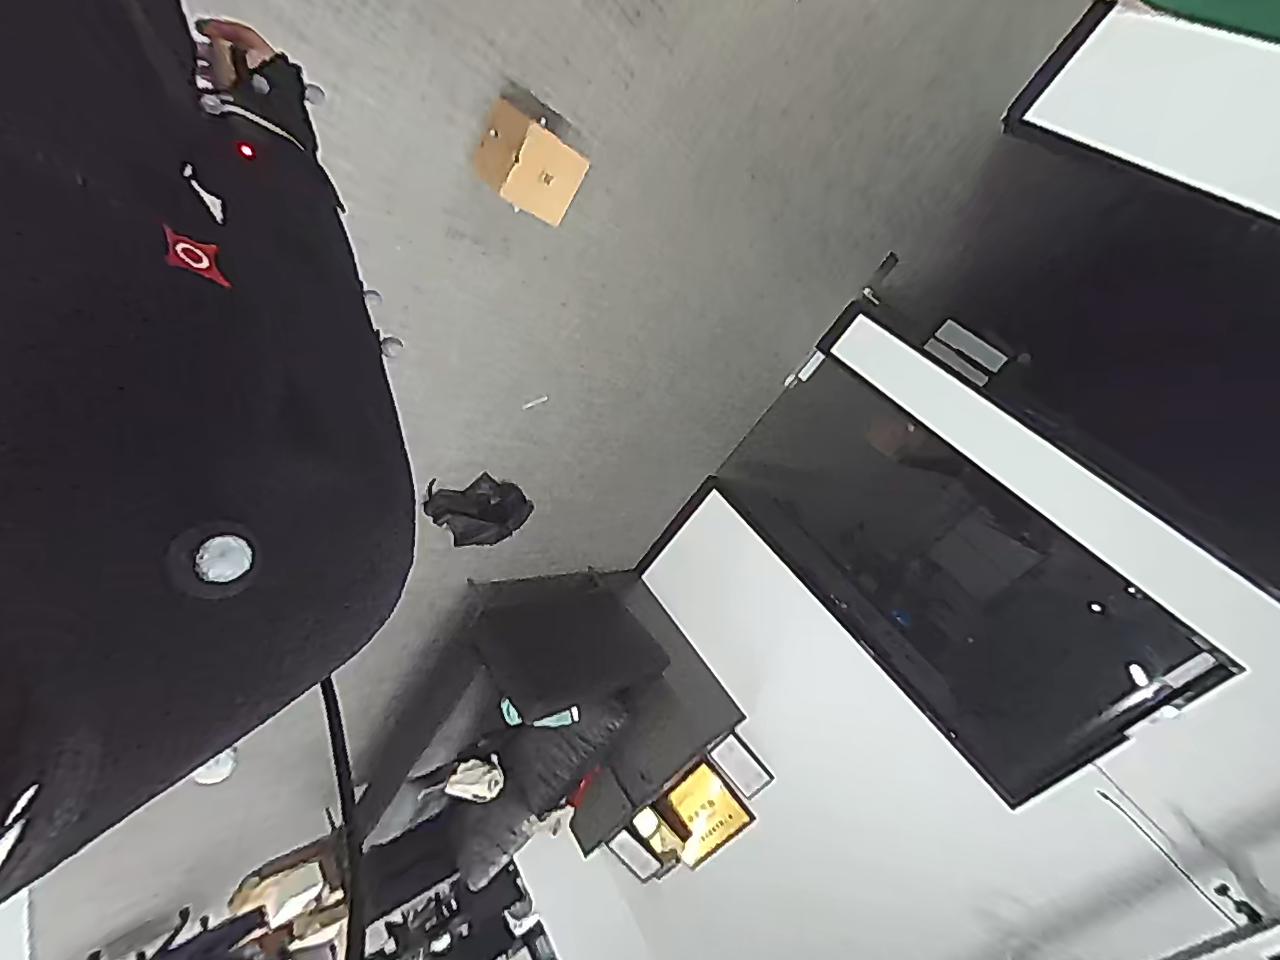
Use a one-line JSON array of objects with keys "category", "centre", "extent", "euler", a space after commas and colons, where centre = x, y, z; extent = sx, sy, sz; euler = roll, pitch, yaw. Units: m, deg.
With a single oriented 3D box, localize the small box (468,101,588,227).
[{"category": "small box", "centre": [-0.261, -0.726, 1.245], "extent": [0.179, 0.176, 0.168], "euler": [3, 130, -51]}]
